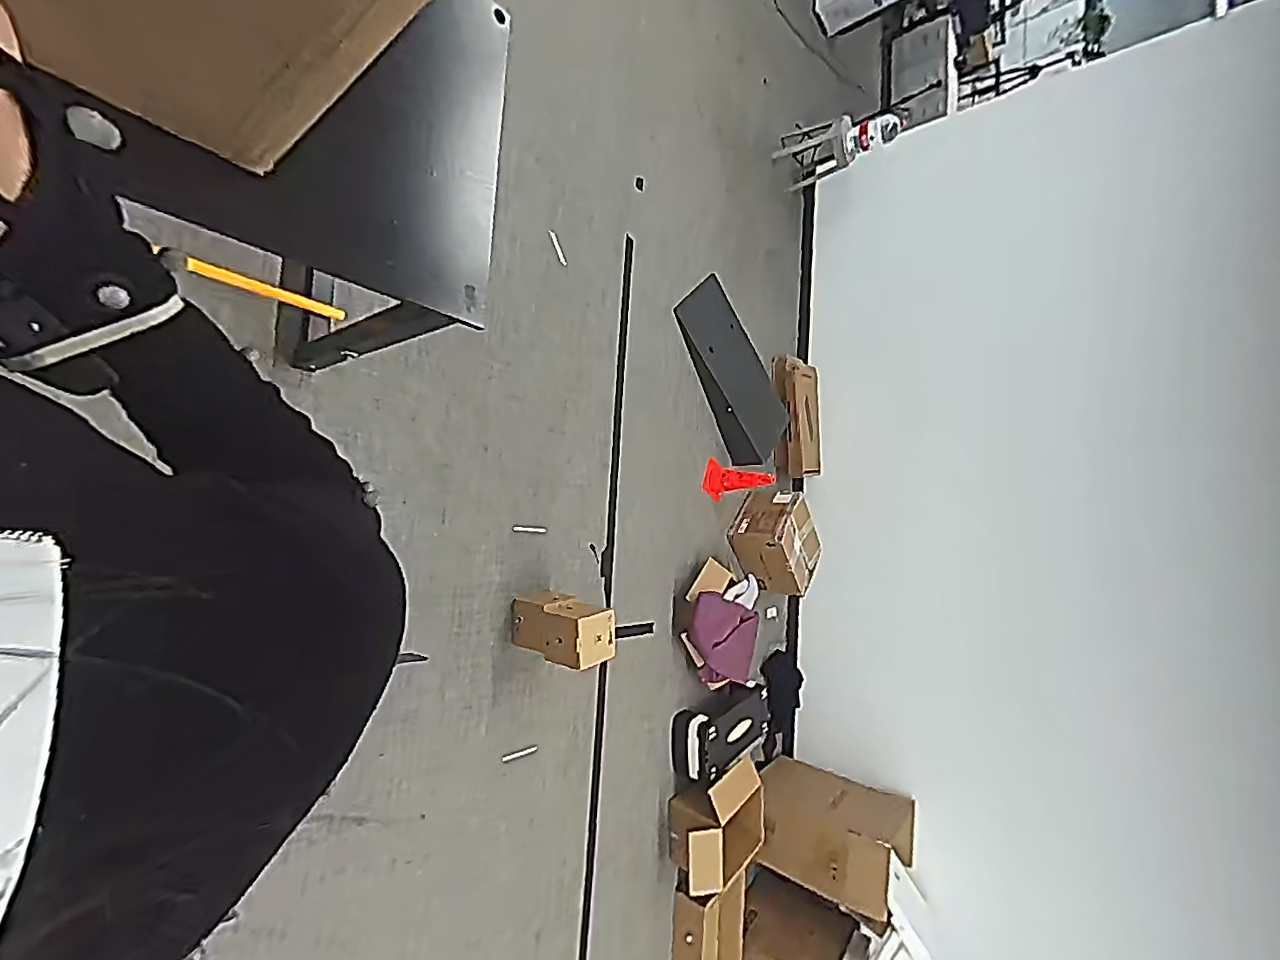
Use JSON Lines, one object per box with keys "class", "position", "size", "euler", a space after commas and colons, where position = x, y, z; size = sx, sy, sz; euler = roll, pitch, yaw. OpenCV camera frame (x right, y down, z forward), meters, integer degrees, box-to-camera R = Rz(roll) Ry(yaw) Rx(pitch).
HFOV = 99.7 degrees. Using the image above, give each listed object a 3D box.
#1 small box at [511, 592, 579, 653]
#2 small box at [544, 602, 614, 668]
{"class": "small box", "position": [-0.336, 0.498, 1.920], "size": [0.179, 0.176, 0.168], "euler": [1, 89, -50]}
{"class": "small box", "position": [-0.209, 0.515, 1.815], "size": [0.179, 0.176, 0.168], "euler": [-1, 90, -51]}
